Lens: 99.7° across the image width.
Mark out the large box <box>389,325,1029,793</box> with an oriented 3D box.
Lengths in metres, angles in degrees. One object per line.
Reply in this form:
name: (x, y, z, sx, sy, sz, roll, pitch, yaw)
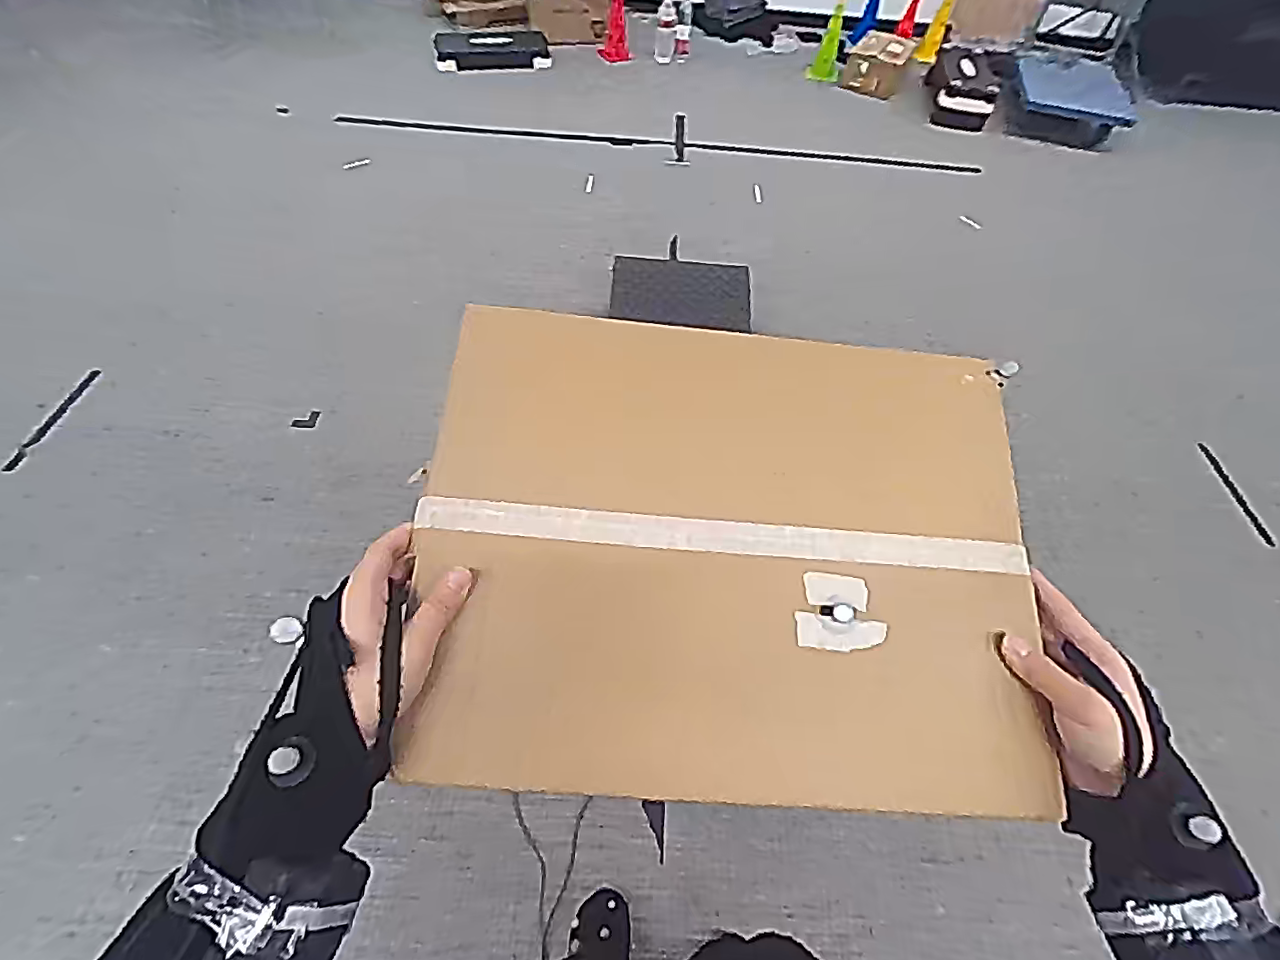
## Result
large box: (0.041, 0.086, 0.513, 0.408, 0.320, 0.320, 4, 73, -4)
